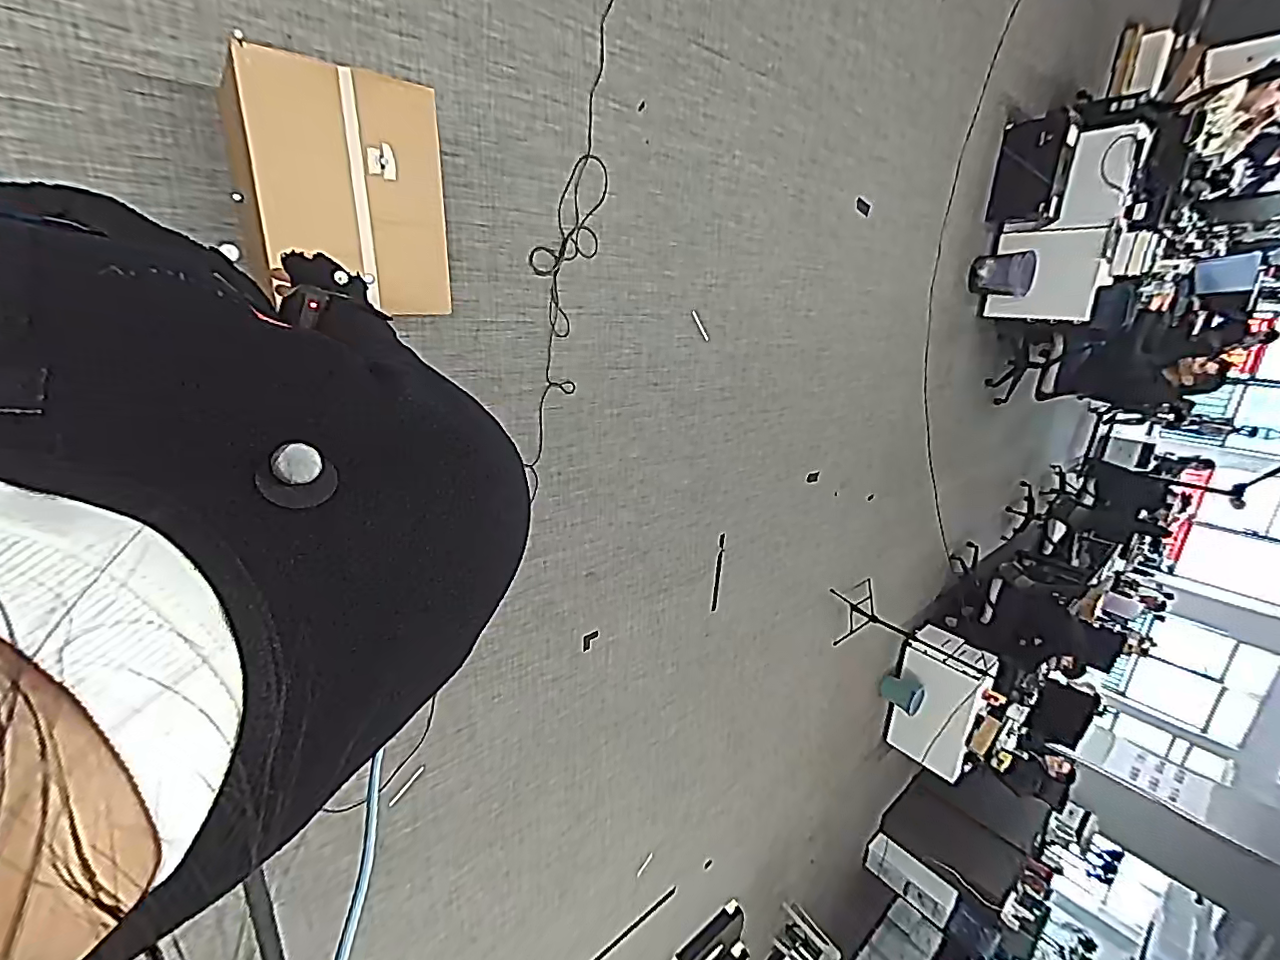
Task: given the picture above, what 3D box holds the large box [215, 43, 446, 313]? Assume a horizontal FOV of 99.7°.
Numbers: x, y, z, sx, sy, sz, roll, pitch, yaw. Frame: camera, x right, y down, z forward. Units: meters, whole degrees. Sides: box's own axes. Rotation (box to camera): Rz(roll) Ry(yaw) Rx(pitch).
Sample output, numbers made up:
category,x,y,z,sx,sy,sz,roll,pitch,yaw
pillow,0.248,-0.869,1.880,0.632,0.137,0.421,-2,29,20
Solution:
category,x,y,z,sx,sy,sz,roll,pitch,yaw
large box,-0.620,-0.554,1.097,0.320,0.320,0.408,-14,114,-39
